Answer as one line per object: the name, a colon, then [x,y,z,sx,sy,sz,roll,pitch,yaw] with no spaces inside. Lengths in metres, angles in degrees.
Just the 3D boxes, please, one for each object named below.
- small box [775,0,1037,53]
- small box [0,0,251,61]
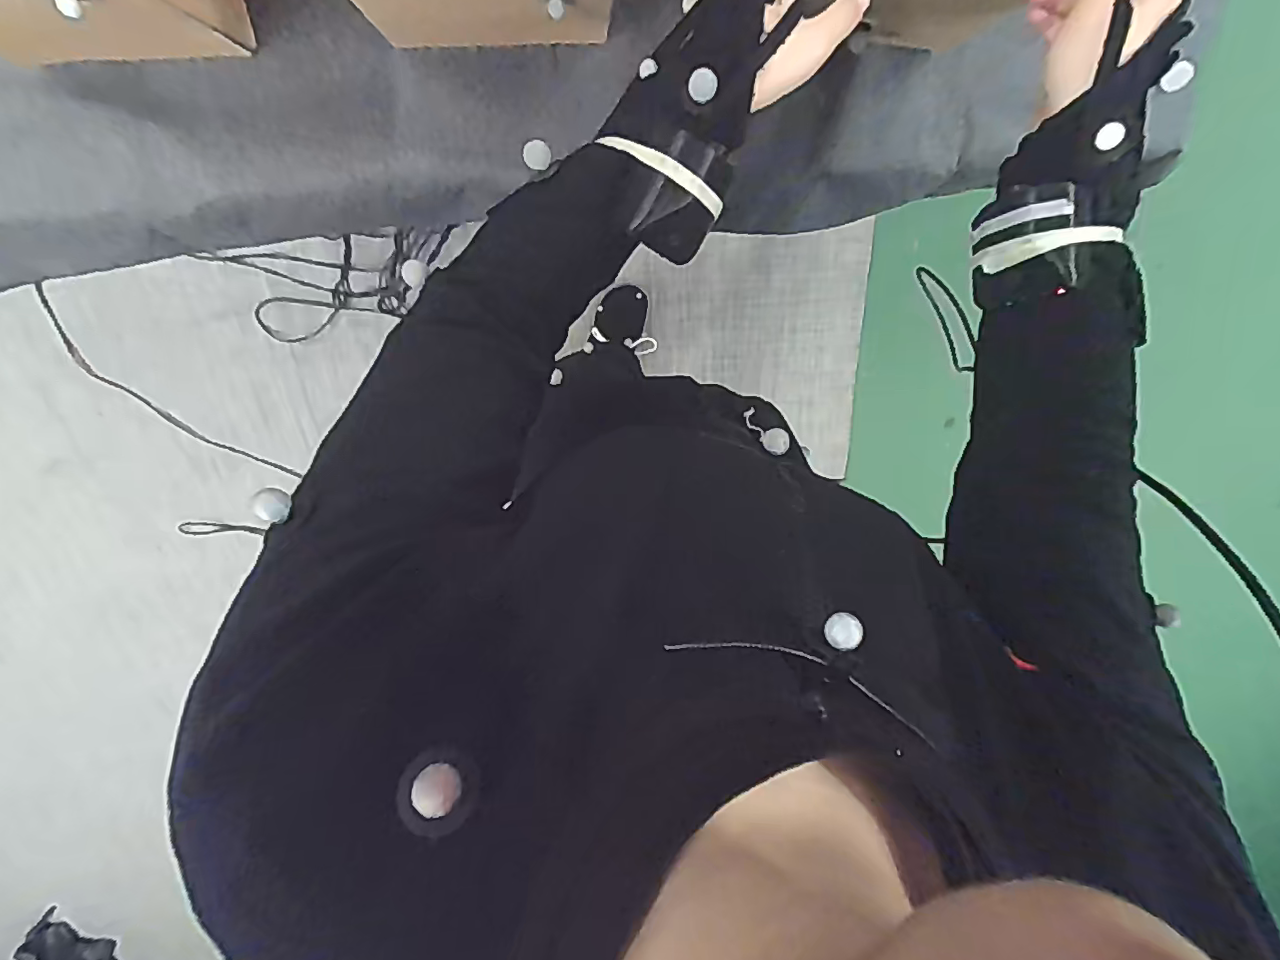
small box: [0.198,-0.424,0.359,0.168,0.176,0.179,3,114,-2]
small box: [-0.387,-0.373,0.320,0.179,0.176,0.168,-6,114,-5]
